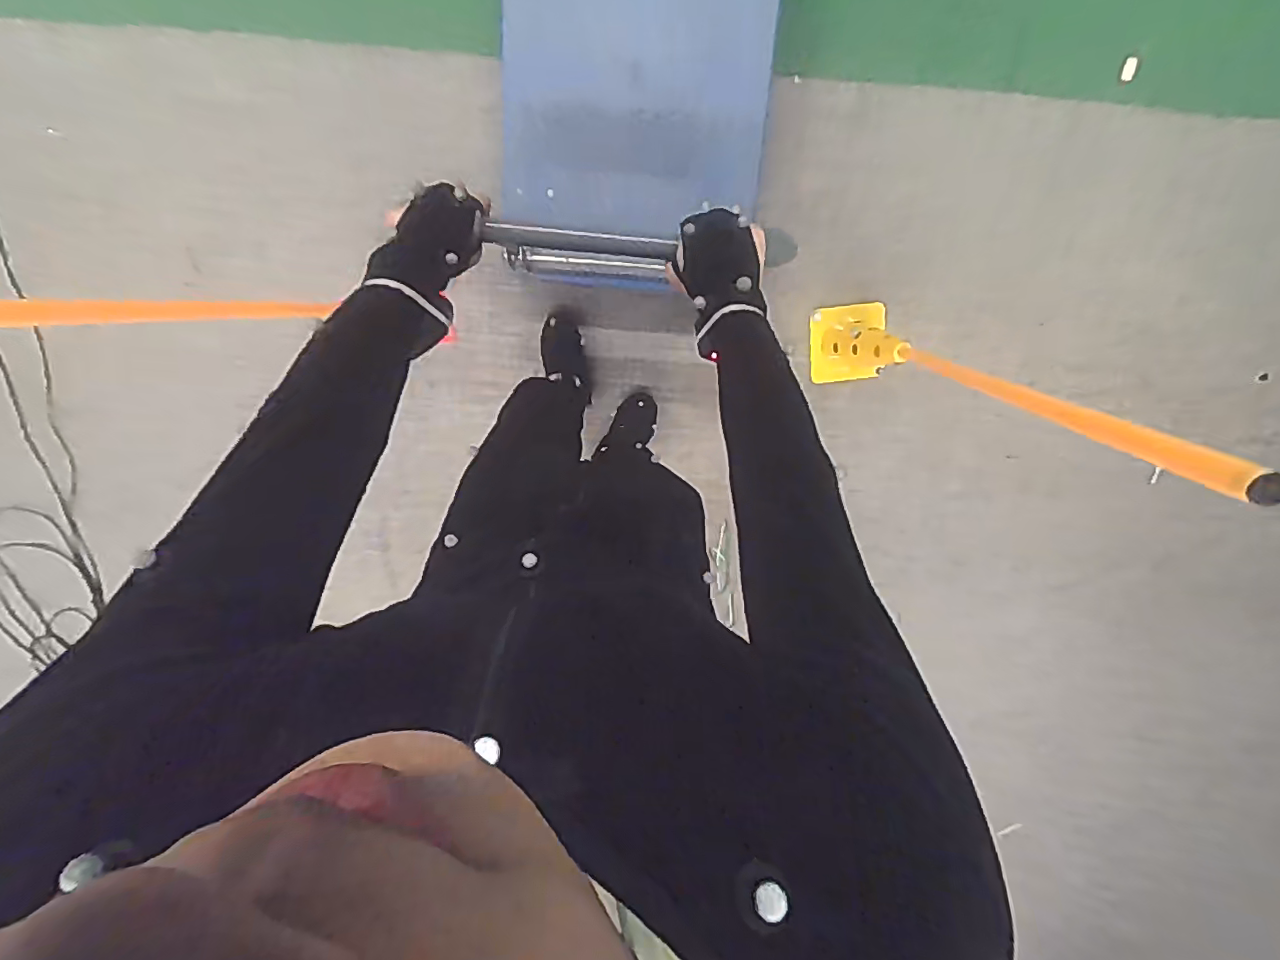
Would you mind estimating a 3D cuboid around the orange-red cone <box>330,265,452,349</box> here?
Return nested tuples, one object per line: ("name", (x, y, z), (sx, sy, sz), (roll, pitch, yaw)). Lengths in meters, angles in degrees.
("orange-red cone", (-0.623, -0.411, 1.288), (0.199, 0.360, 0.198), (-9, 107, 5))
